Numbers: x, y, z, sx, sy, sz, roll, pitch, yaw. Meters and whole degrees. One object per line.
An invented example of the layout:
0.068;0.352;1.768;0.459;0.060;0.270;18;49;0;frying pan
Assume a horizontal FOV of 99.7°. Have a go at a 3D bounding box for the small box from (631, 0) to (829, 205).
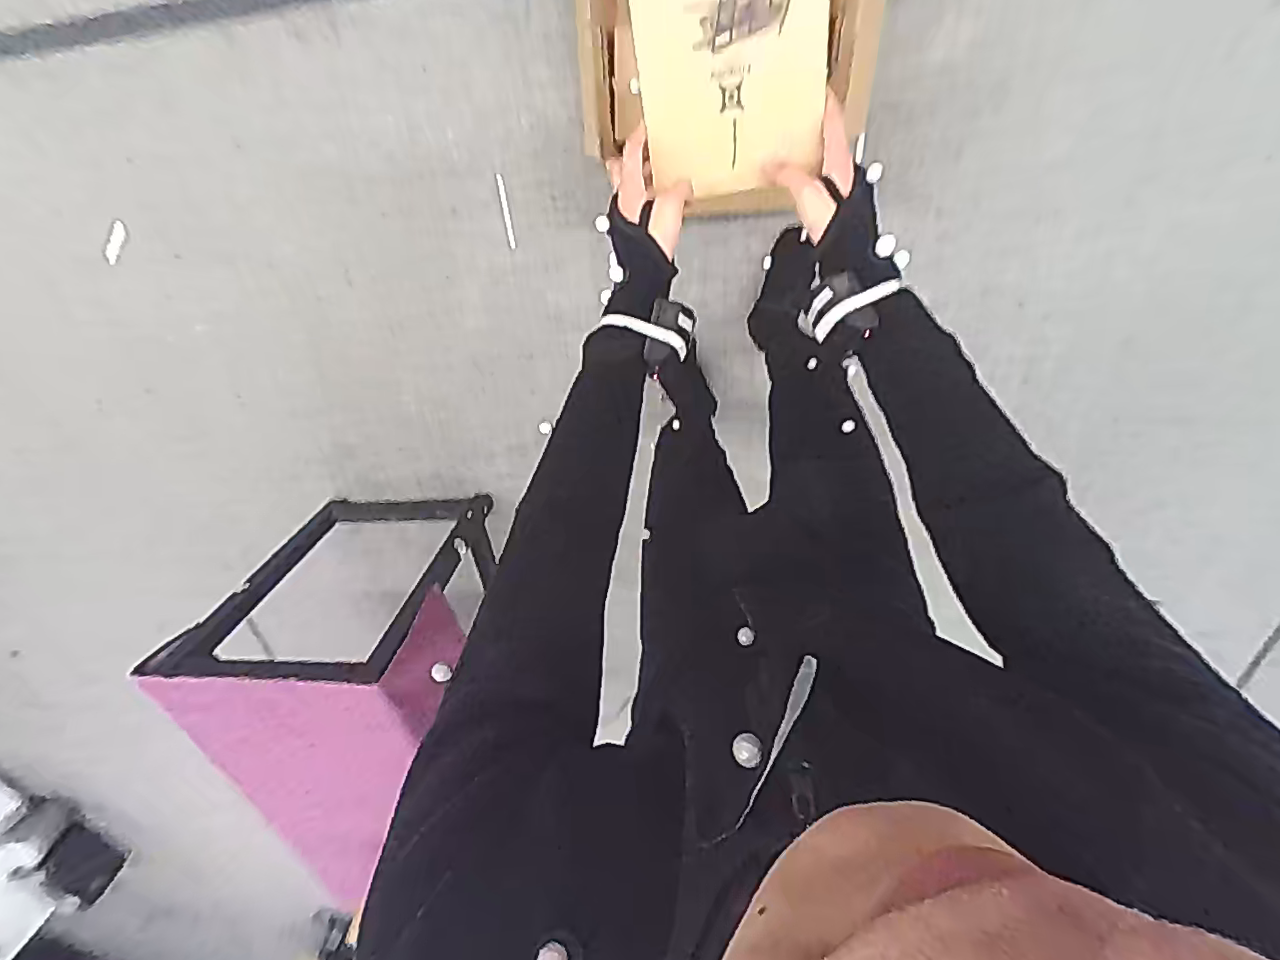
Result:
0.086;-0.398;0.545;0.168;0.176;0.179;-4;127;8;small box
